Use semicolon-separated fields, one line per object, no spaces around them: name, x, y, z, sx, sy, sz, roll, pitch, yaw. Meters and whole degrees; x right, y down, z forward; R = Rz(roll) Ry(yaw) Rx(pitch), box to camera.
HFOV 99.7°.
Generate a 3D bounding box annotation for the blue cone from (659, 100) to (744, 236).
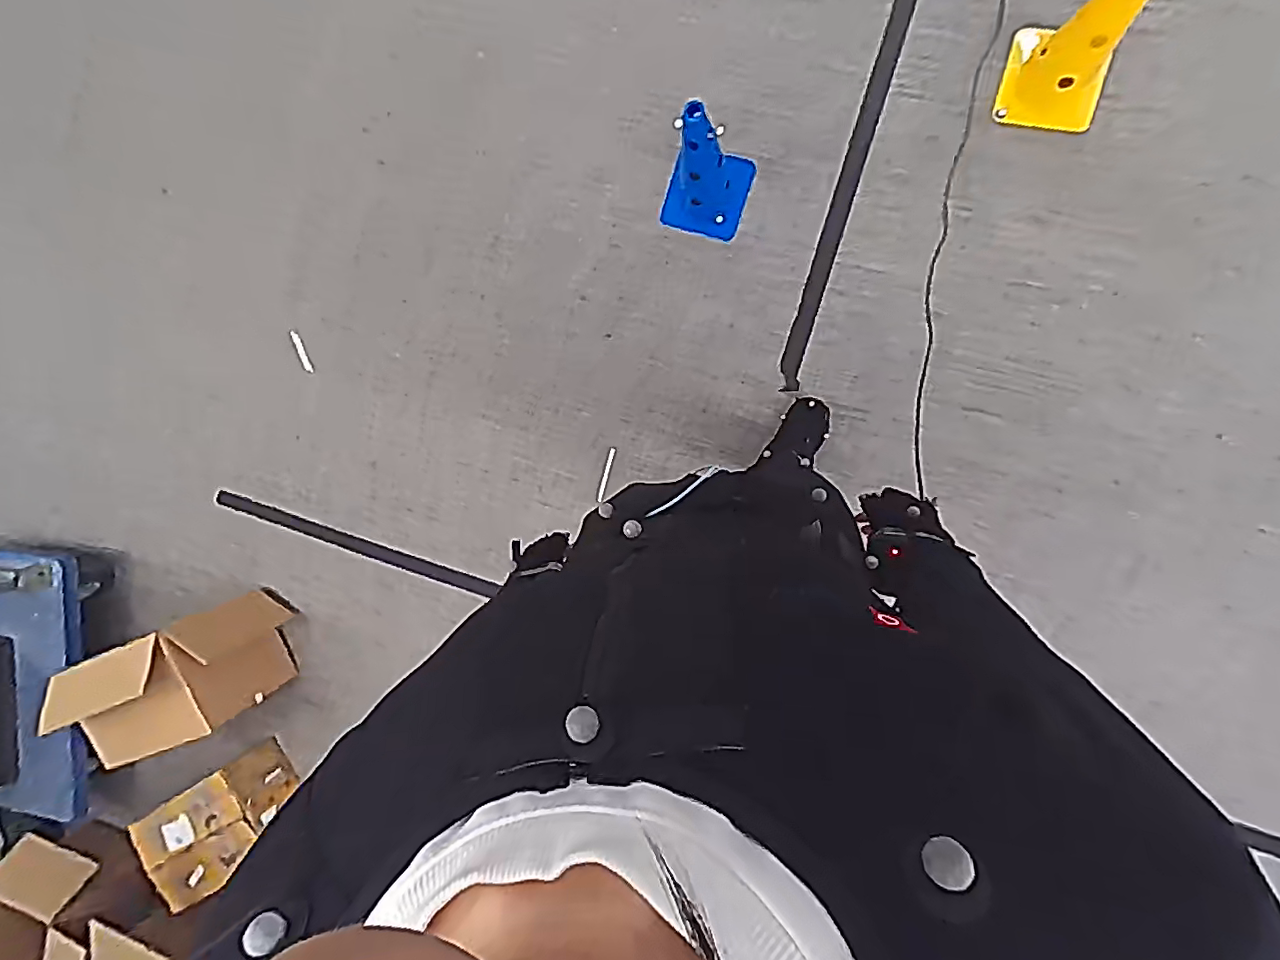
blue cone;0.120;-0.712;1.200;0.192;0.380;0.193;21;98;10
